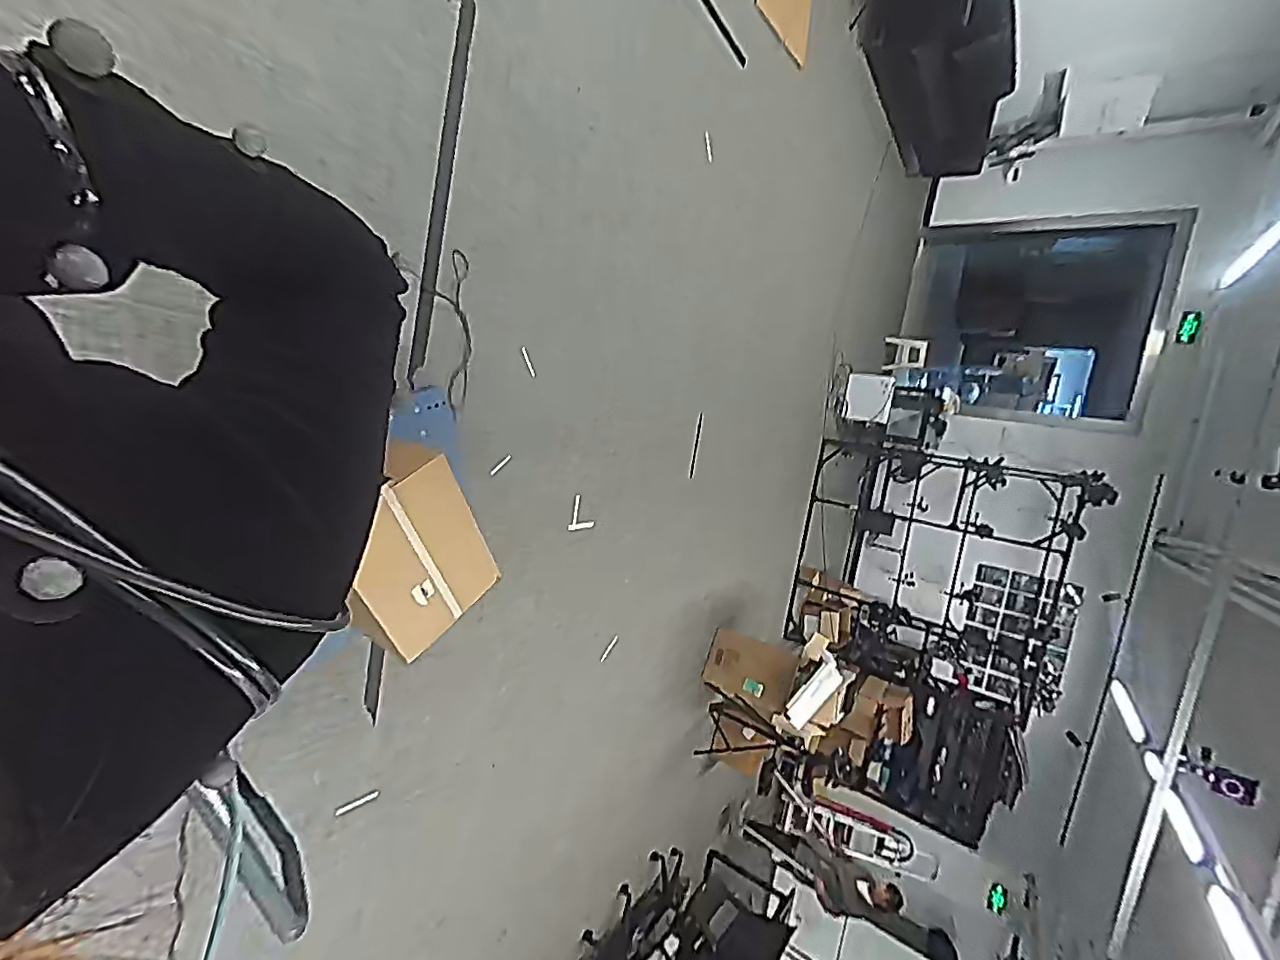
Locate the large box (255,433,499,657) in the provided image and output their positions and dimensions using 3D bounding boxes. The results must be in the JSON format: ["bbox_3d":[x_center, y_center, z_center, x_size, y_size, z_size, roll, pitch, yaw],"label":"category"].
[{"bbox_3d":[-0.621,0.145,1.322,0.320,0.320,0.408,-45,136,-38],"label":"large box"}]
